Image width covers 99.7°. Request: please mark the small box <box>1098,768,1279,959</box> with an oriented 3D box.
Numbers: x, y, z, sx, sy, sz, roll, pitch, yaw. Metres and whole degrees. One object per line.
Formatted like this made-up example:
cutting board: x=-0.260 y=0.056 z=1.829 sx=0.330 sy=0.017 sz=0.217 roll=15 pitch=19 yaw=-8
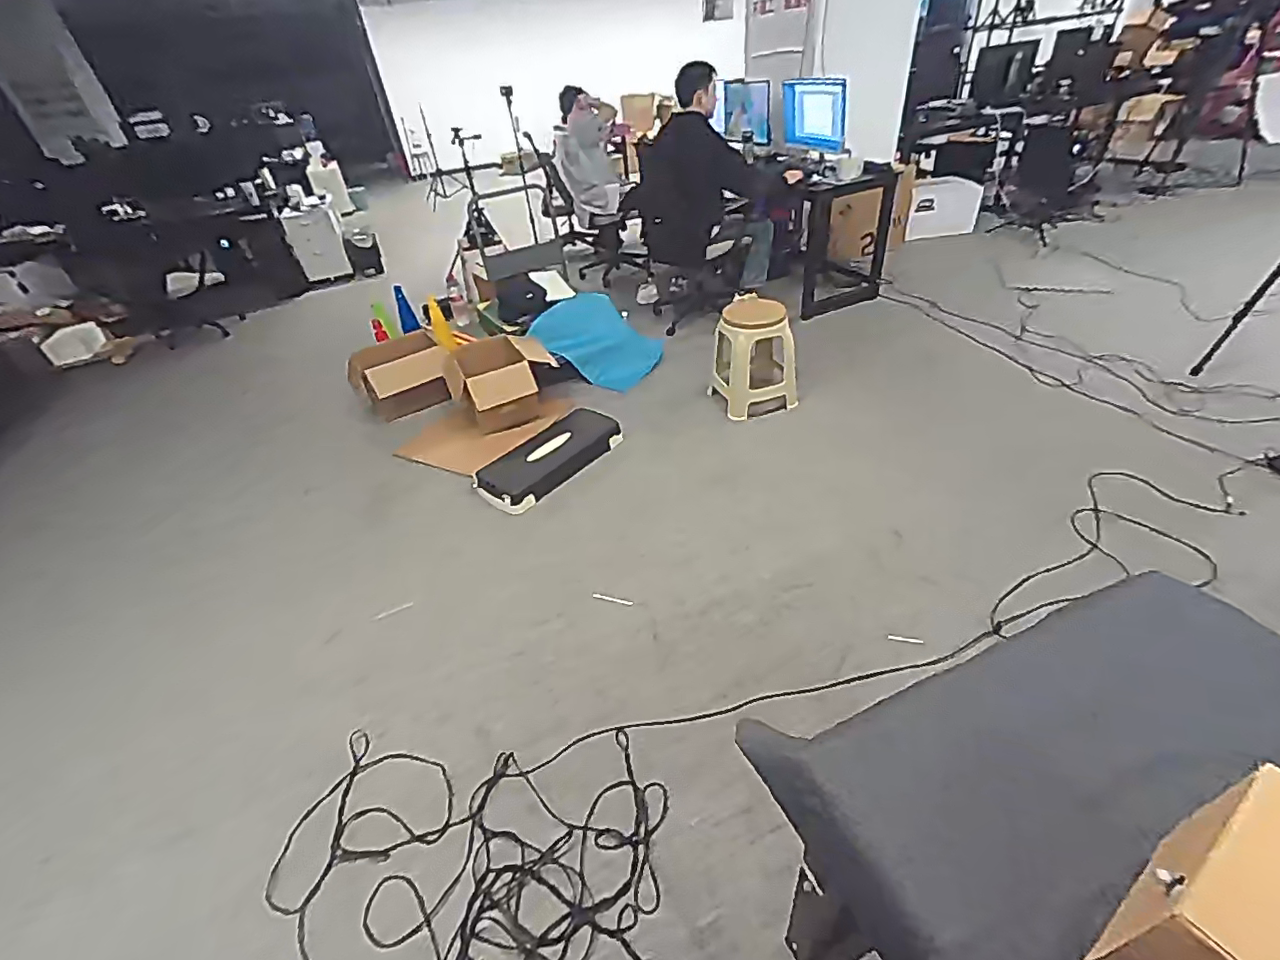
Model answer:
small box: x=0.496 y=0.367 z=0.402 sx=0.179 sy=0.176 sz=0.168 roll=-27 pitch=43 yaw=-23
